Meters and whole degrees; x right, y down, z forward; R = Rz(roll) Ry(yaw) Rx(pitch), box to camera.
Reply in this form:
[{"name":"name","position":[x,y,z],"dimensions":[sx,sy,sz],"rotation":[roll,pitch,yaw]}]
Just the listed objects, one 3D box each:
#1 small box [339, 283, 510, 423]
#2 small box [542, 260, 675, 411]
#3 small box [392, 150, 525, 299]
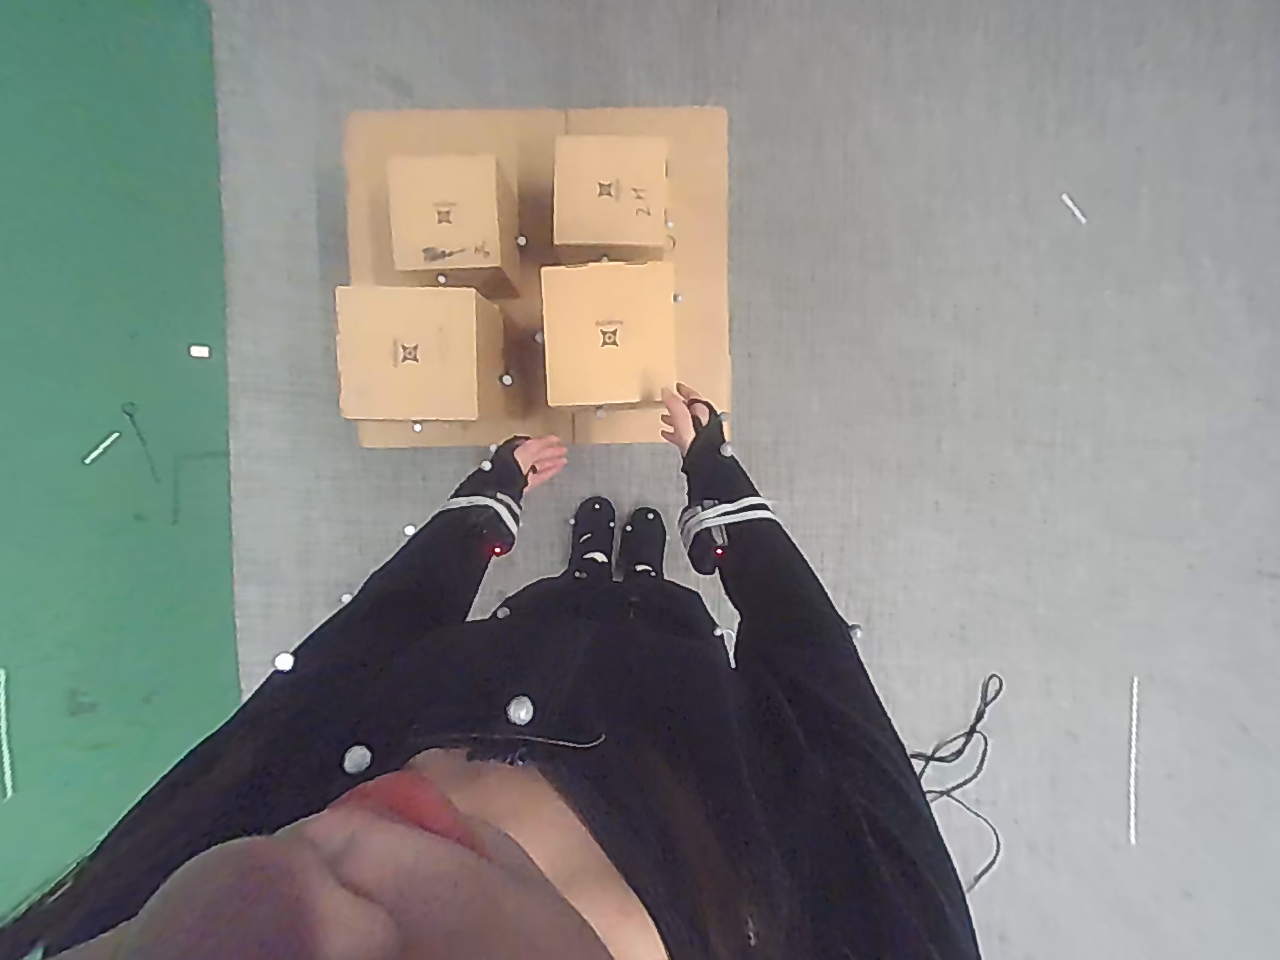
[{"name":"small box","position":[-0.290,-0.167,0.756],"dimensions":[0.179,0.176,0.168],"rotation":[1,95,-1]},{"name":"small box","position":[-0.036,-0.189,0.755],"dimensions":[0.168,0.176,0.179],"rotation":[-2,93,1]},{"name":"small box","position":[-0.293,-0.416,0.904],"dimensions":[0.168,0.176,0.179],"rotation":[-2,92,1]}]
